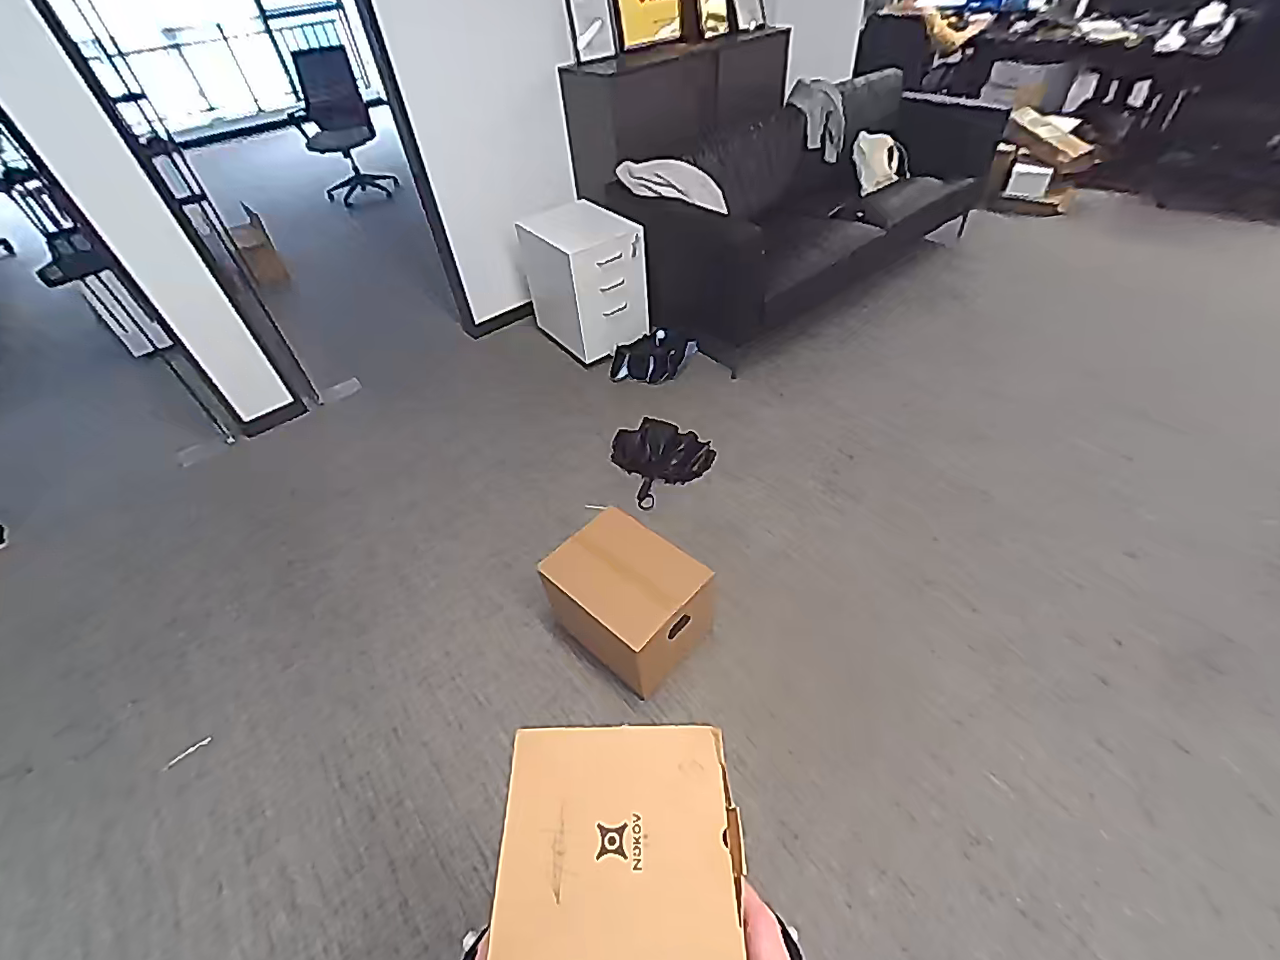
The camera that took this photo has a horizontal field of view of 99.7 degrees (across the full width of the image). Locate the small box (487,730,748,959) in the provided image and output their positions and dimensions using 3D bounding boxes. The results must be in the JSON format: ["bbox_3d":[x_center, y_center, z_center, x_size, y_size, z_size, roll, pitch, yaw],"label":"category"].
[{"bbox_3d":[-0.015,0.328,0.461,0.179,0.176,0.168,-2,46,0],"label":"small box"}]
